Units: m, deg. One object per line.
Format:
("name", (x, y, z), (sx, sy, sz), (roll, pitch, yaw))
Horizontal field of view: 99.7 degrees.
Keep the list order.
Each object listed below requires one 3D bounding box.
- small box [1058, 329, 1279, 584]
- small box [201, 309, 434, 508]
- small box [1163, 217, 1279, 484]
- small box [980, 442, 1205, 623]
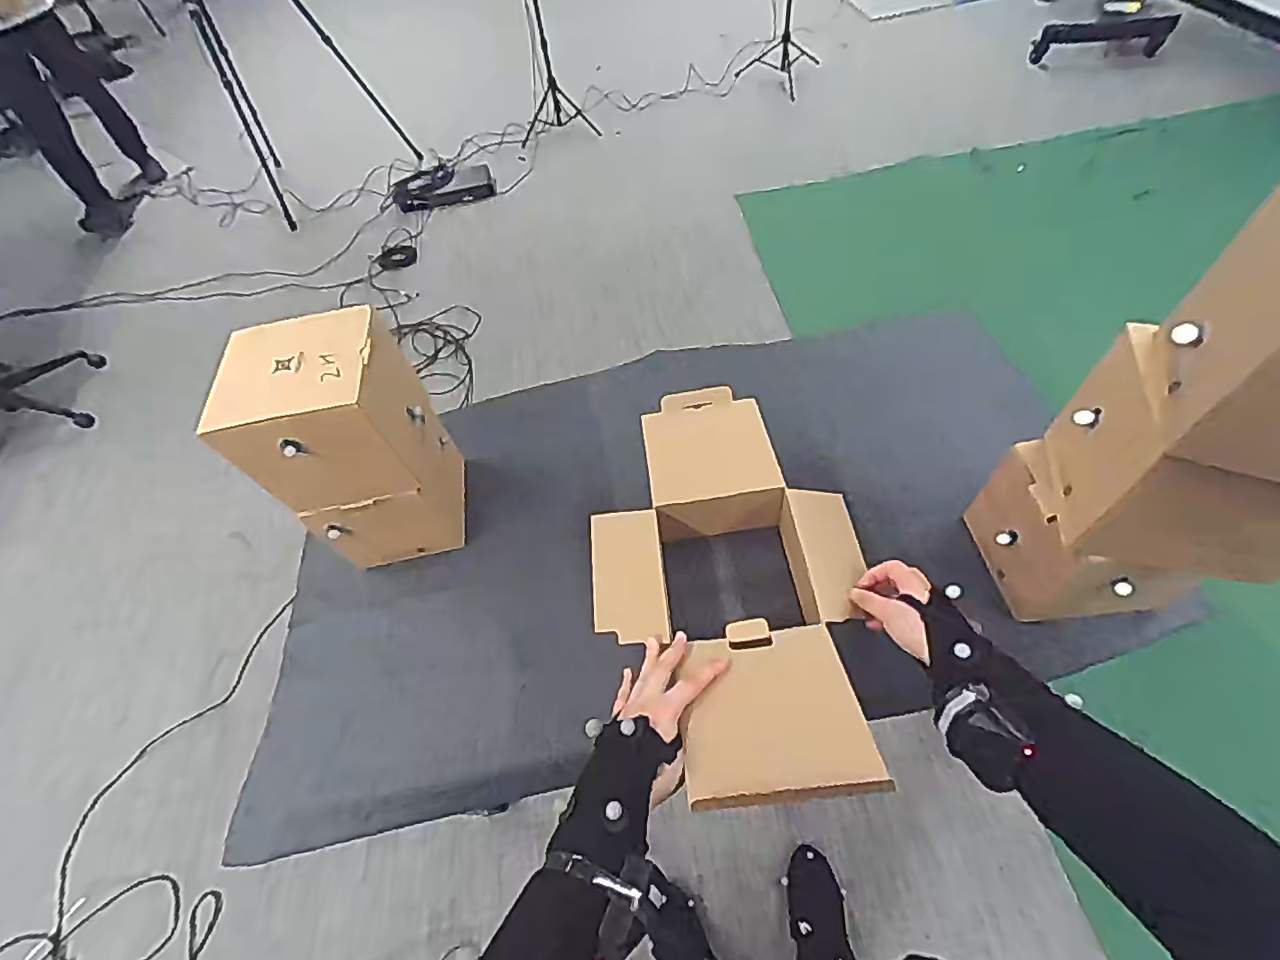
("small box", (0.538, -0.019, 0.519), (0.179, 0.176, 0.168), (11, 56, 15))
("small box", (-0.382, -0.082, 0.677), (0.179, 0.176, 0.168), (-11, 57, -1))
("small box", (0.522, -0.096, 0.372), (0.179, 0.176, 0.168), (19, 59, 21))
("small box", (0.551, 0.063, 0.660), (0.179, 0.176, 0.168), (-7, 54, 4))
